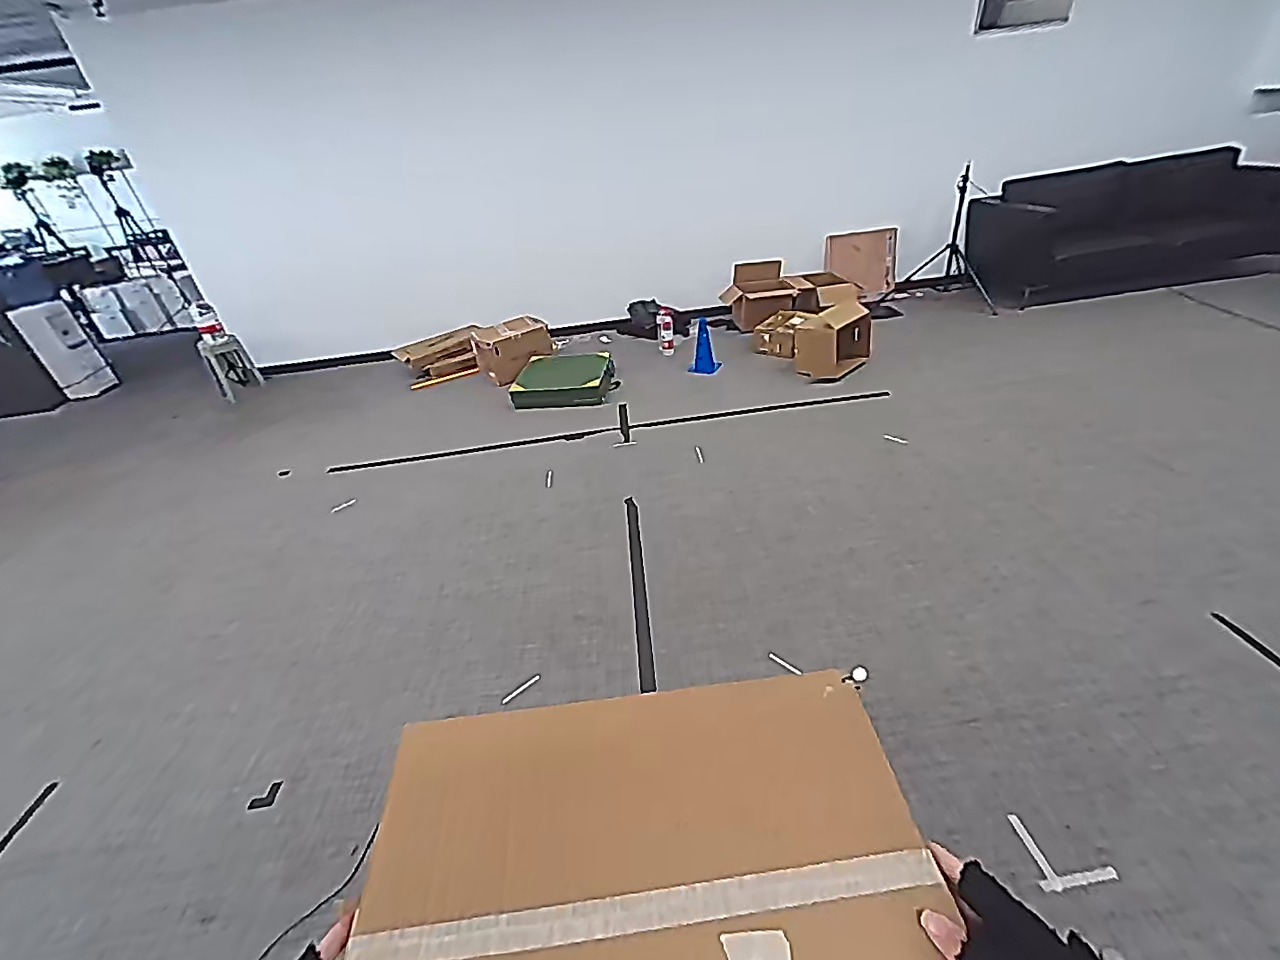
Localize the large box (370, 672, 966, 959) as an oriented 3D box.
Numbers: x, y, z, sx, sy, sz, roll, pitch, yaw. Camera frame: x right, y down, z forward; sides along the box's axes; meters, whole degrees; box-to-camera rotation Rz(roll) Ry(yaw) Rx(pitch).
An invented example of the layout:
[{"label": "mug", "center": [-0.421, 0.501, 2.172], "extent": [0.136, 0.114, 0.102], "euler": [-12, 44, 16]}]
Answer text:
[{"label": "large box", "center": [0.016, 0.414, 0.480], "extent": [0.408, 0.320, 0.320], "euler": [-6, 41, -4]}]
